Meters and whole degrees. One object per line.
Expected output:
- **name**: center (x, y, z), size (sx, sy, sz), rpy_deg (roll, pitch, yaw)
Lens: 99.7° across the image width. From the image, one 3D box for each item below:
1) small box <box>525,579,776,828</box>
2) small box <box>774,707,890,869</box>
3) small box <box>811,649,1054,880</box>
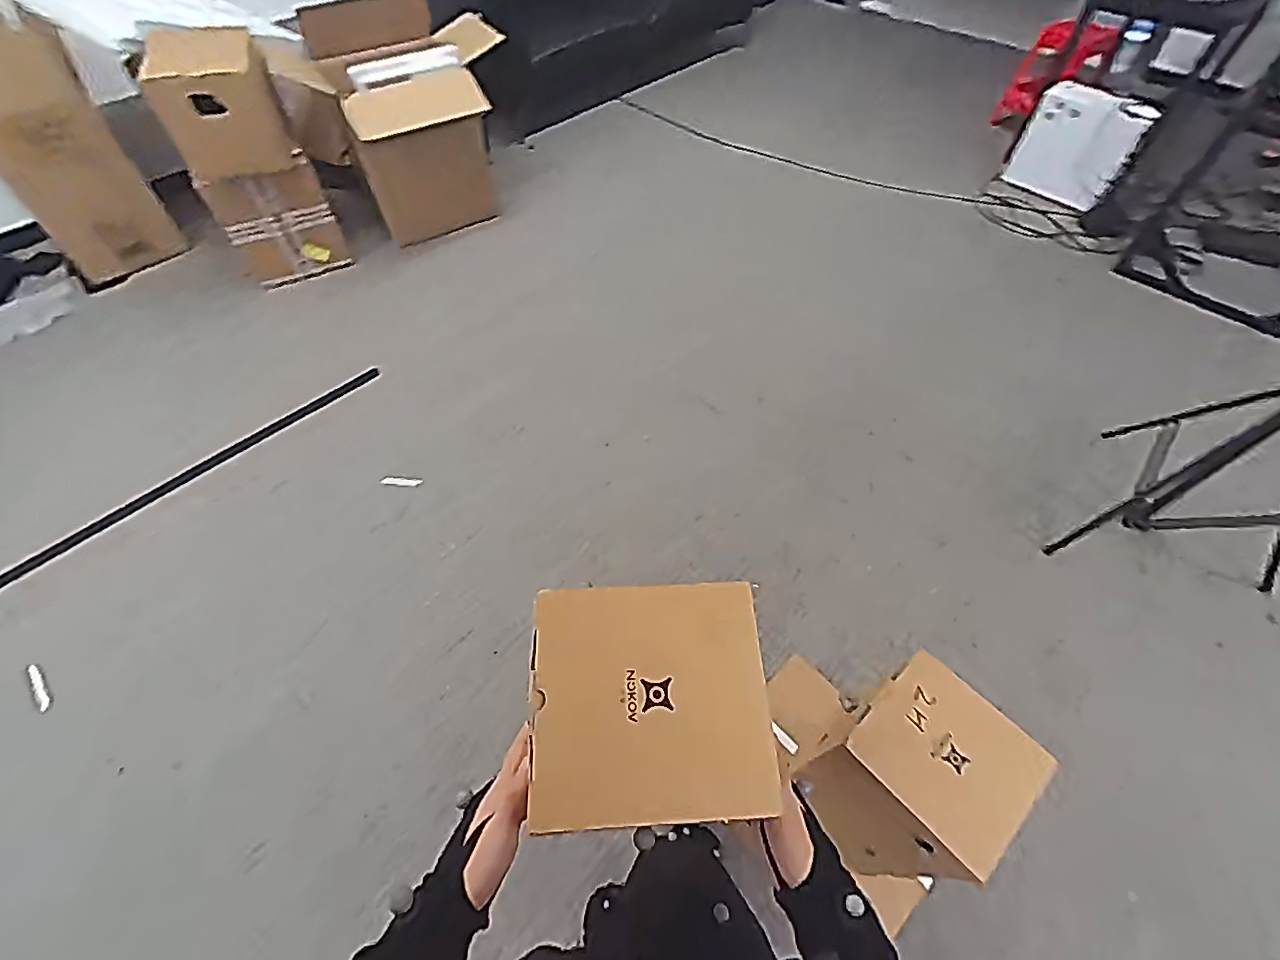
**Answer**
- **small box**: center (0.000, 0.192, 0.474), size (0.179, 0.176, 0.168), rpy_deg (-3, 64, -4)
- **small box**: center (0.349, 0.537, 0.943), size (0.179, 0.176, 0.168), rpy_deg (39, 65, 23)
- **small box**: center (0.345, 0.349, 0.673), size (0.168, 0.176, 0.179), rpy_deg (-37, 63, -22)
